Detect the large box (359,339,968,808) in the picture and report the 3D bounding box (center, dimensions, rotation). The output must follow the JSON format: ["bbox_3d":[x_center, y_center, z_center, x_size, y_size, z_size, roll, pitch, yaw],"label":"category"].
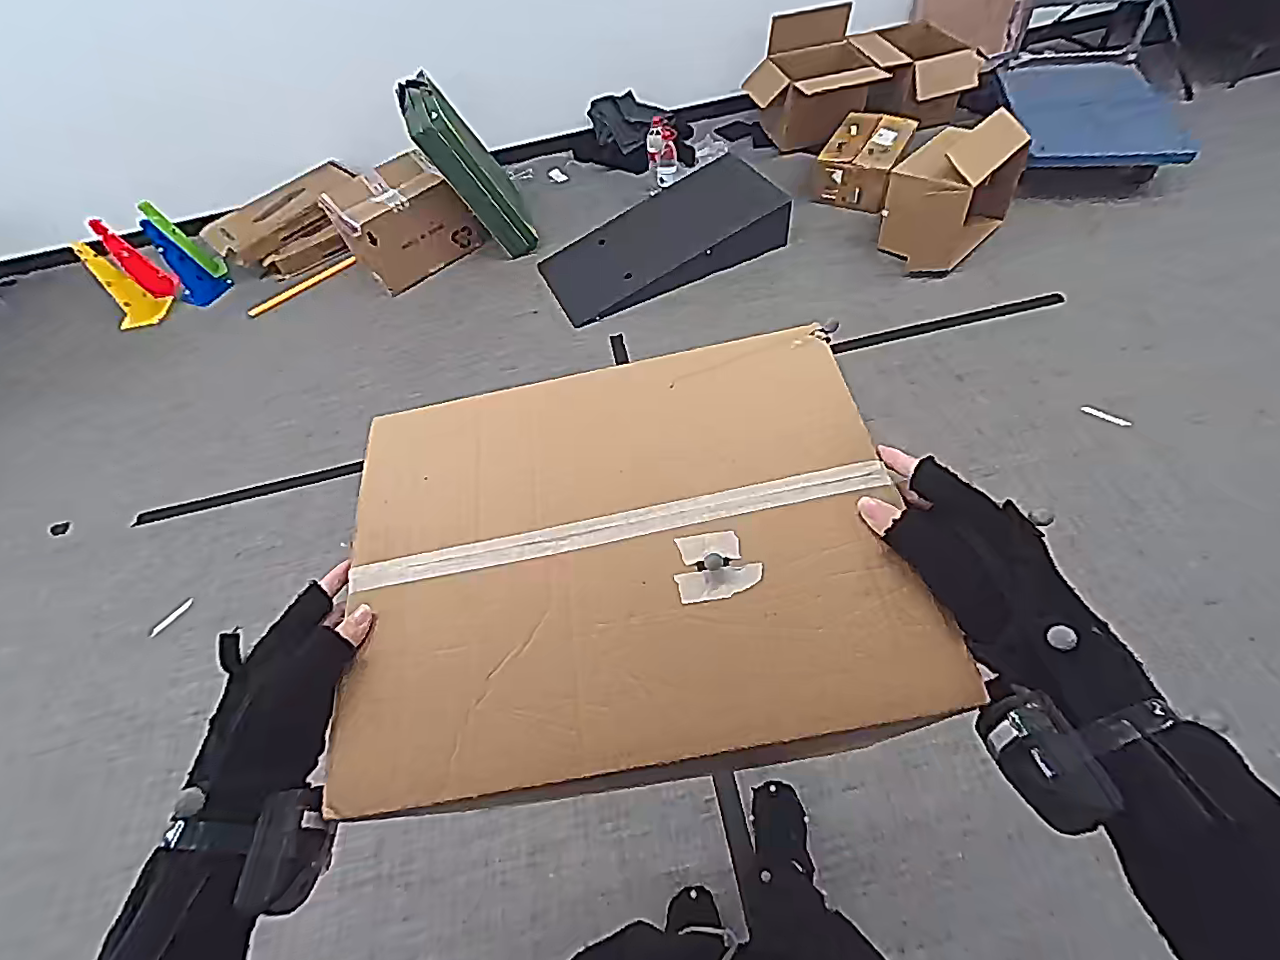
[{"bbox_3d":[0.007,0.115,0.543,0.408,0.320,0.320,-11,60,2],"label":"large box"}]
